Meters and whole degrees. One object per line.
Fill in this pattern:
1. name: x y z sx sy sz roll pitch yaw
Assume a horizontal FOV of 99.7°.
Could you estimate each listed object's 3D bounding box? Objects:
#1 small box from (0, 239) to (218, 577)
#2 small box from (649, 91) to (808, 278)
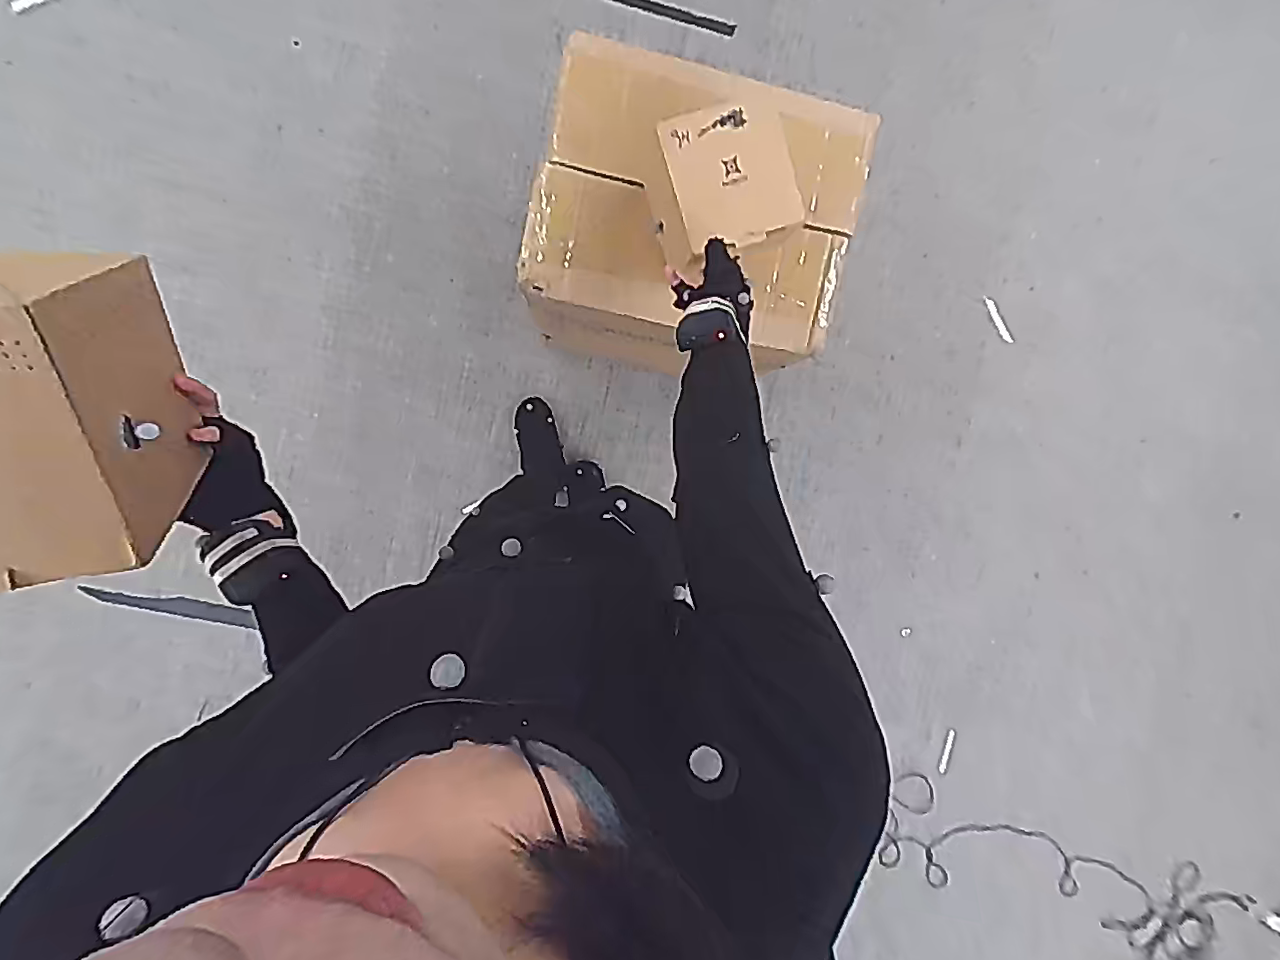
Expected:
1. small box: -0.412 -0.052 0.343 0.168 0.179 0.176 -7 122 -21
2. small box: 0.120 -0.412 0.793 0.168 0.176 0.179 -18 98 -3
